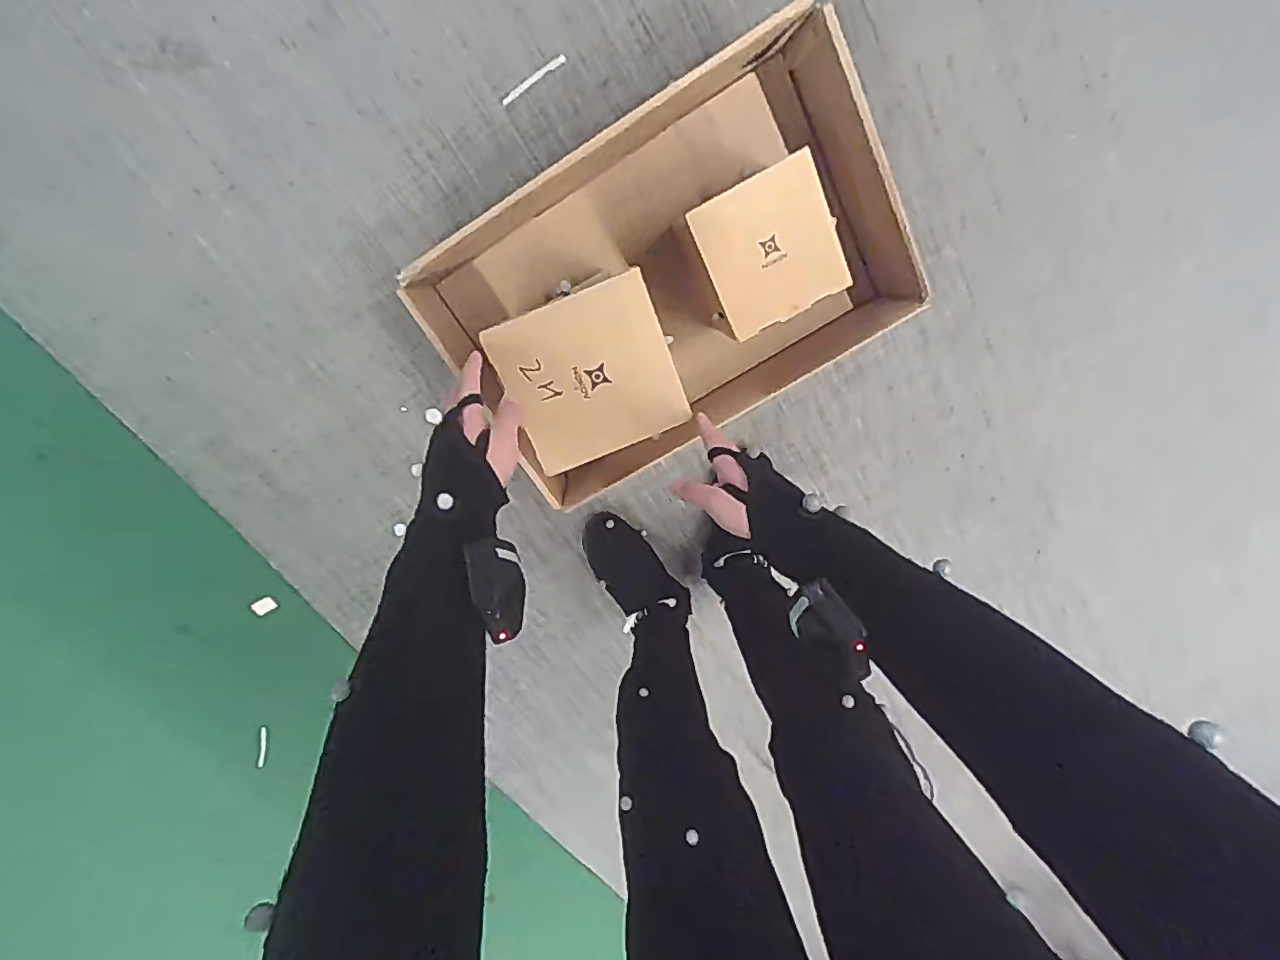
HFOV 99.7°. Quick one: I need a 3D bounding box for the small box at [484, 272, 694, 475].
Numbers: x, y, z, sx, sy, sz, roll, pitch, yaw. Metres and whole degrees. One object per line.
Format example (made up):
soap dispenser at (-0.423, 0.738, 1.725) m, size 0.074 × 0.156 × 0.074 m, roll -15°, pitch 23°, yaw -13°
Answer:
small box at (-0.055, -0.133, 0.633) m, size 0.179 × 0.176 × 0.168 m, roll -21°, pitch 110°, yaw 4°
